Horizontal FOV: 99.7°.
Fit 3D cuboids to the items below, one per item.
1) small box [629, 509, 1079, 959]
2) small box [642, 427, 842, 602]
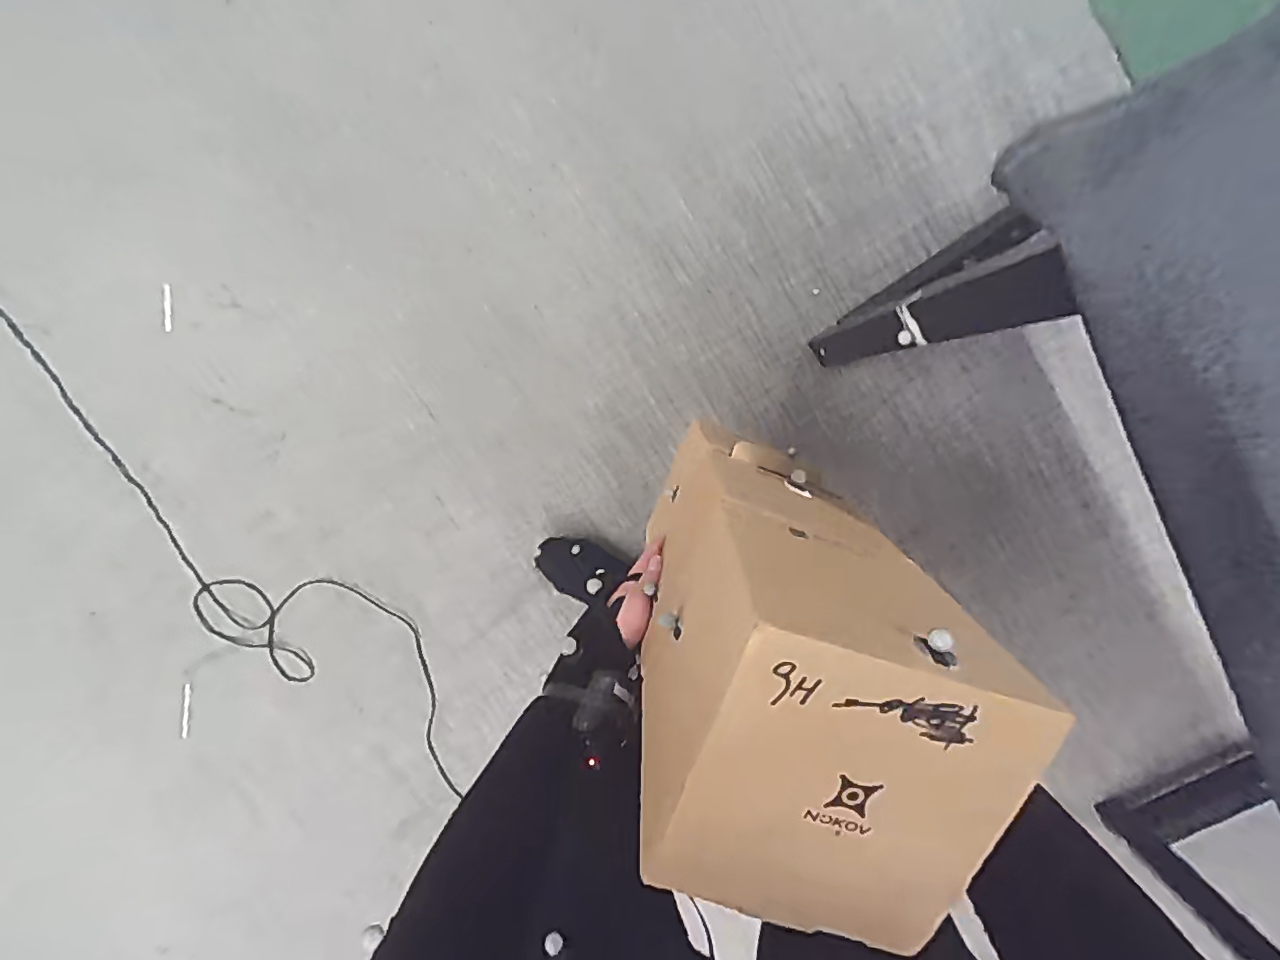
[{"bbox_3d":[0.099,0.143,0.338,0.168,0.176,0.179,16,107,-4],"label":"small box"},{"bbox_3d":[0.107,0.050,0.651,0.168,0.176,0.179,20,106,-3],"label":"small box"}]
